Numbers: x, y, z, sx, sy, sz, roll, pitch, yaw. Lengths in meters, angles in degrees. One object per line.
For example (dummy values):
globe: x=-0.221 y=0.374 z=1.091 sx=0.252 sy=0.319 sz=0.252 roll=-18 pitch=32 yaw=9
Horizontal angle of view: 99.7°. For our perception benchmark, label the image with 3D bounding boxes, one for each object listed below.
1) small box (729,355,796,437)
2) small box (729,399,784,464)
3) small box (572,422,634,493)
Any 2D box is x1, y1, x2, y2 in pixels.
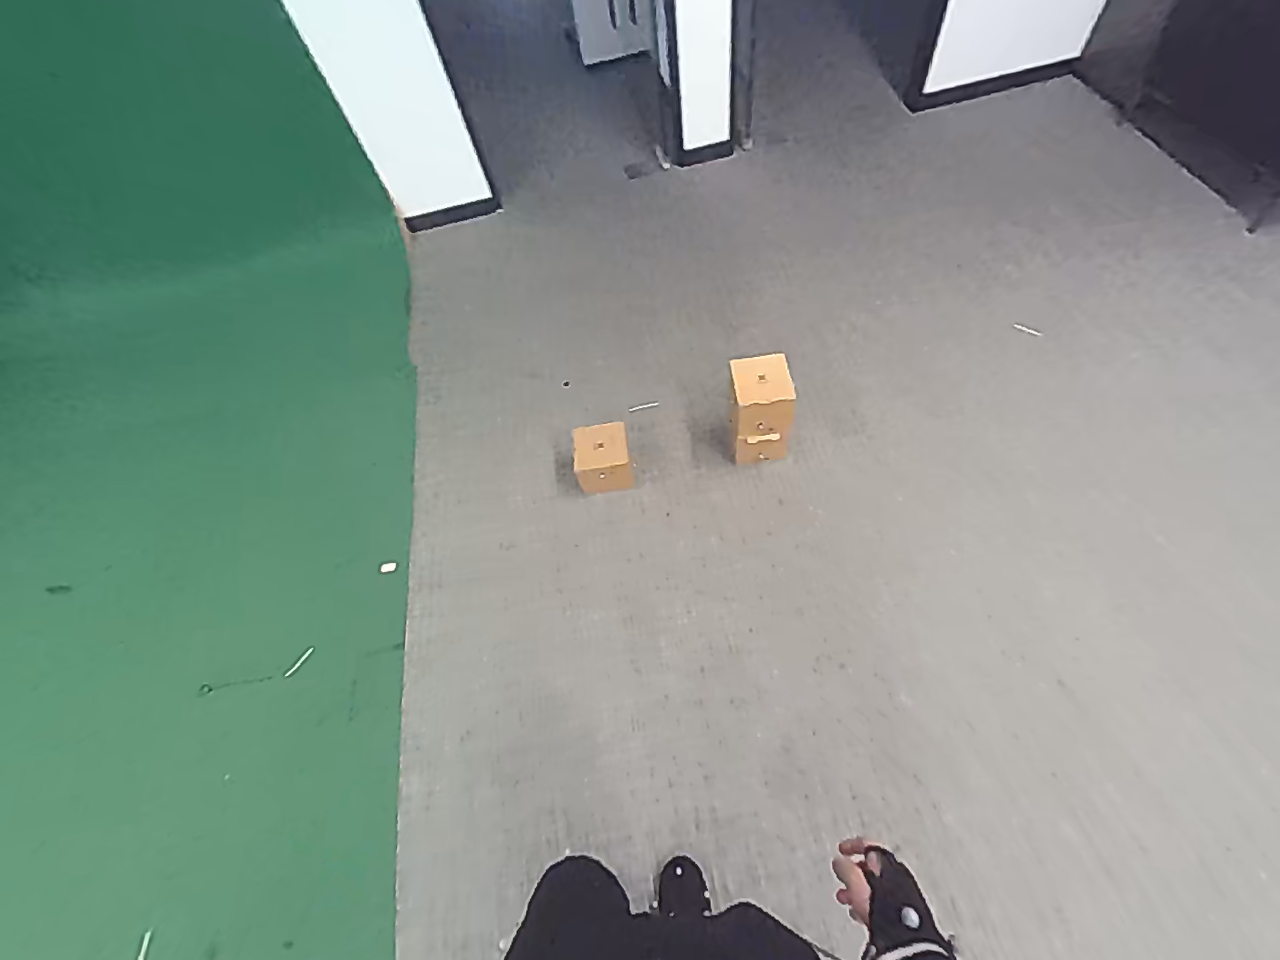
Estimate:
small box: x=0.367 y=-0.253 z=1.648 sx=0.168 sy=0.176 sz=0.179 roll=-7 pitch=60 yaw=3
small box: x=0.380 y=-0.170 z=1.785 sx=0.168 sy=0.176 sz=0.179 roll=-4 pitch=61 yaw=9
small box: x=-0.121 y=-0.069 z=1.803 sx=0.179 sy=0.176 sz=0.168 roll=-8 pitch=60 yaw=3
